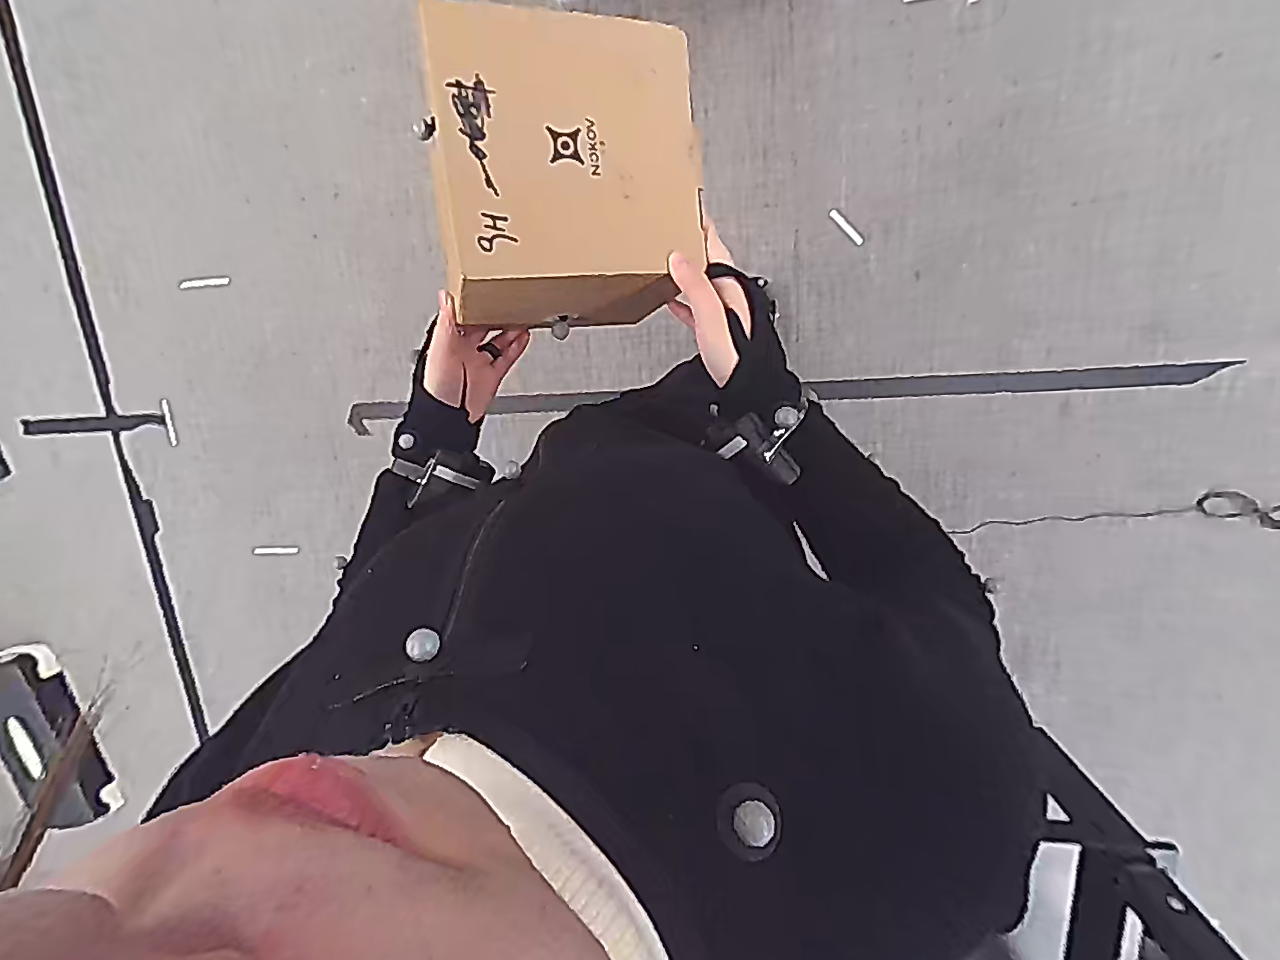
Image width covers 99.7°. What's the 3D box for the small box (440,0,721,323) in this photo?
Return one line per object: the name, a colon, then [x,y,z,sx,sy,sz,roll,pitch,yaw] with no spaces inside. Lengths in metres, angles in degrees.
small box: [-0.056,-0.224,0.422,0.179,0.176,0.168,-7,95,-19]
